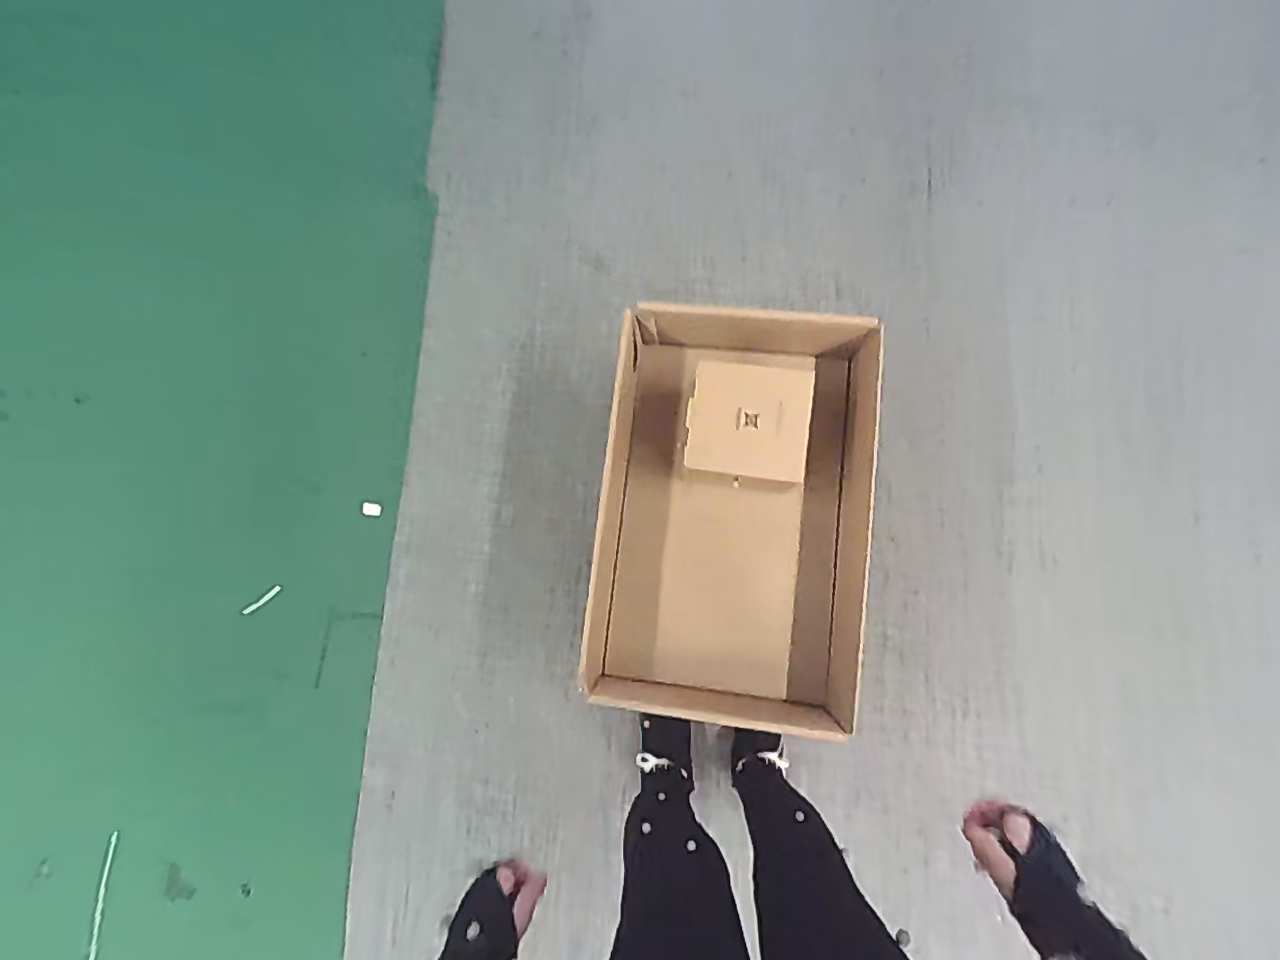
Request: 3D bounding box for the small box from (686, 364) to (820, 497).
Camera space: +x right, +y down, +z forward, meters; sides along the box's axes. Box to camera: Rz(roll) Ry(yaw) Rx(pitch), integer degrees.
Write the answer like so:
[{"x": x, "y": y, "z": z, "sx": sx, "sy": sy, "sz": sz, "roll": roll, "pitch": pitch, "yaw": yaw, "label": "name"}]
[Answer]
[{"x": 0.171, "y": -0.071, "z": 0.867, "sx": 0.179, "sy": 0.176, "sz": 0.168, "roll": 9, "pitch": 83, "yaw": 5, "label": "small box"}]
